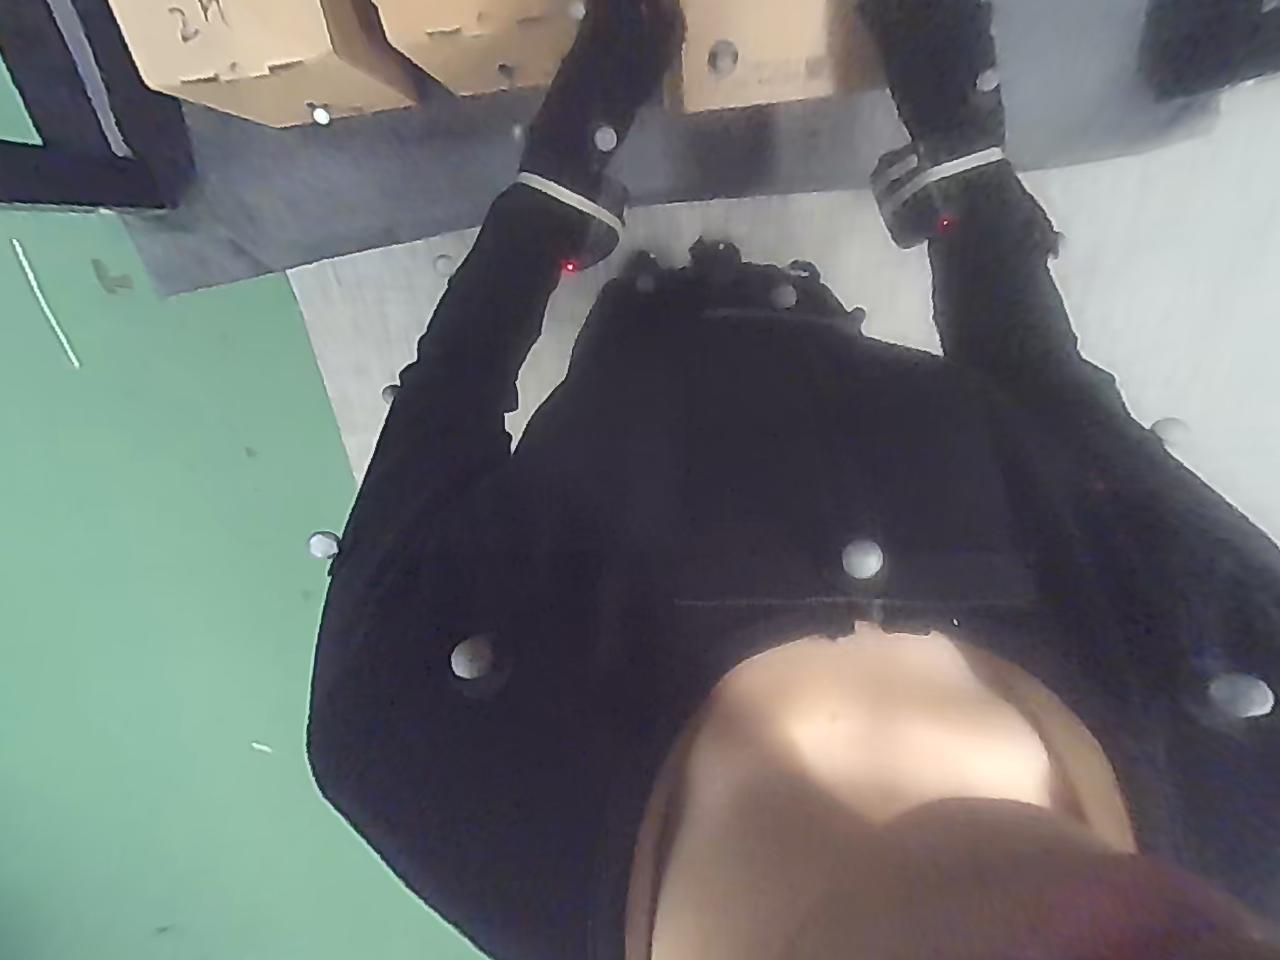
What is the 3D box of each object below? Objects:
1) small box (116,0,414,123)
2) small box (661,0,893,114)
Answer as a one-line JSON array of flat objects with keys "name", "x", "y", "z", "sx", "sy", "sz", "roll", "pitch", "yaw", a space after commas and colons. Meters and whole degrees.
[{"name": "small box", "x": -0.329, "y": -0.444, "z": 0.478, "sx": 0.168, "sy": 0.176, "sz": 0.179, "roll": -6, "pitch": 113, "yaw": 4}, {"name": "small box", "x": 0.105, "y": -0.419, "z": 0.452, "sx": 0.168, "sy": 0.179, "sz": 0.176, "roll": -6, "pitch": 124, "yaw": 1}]
